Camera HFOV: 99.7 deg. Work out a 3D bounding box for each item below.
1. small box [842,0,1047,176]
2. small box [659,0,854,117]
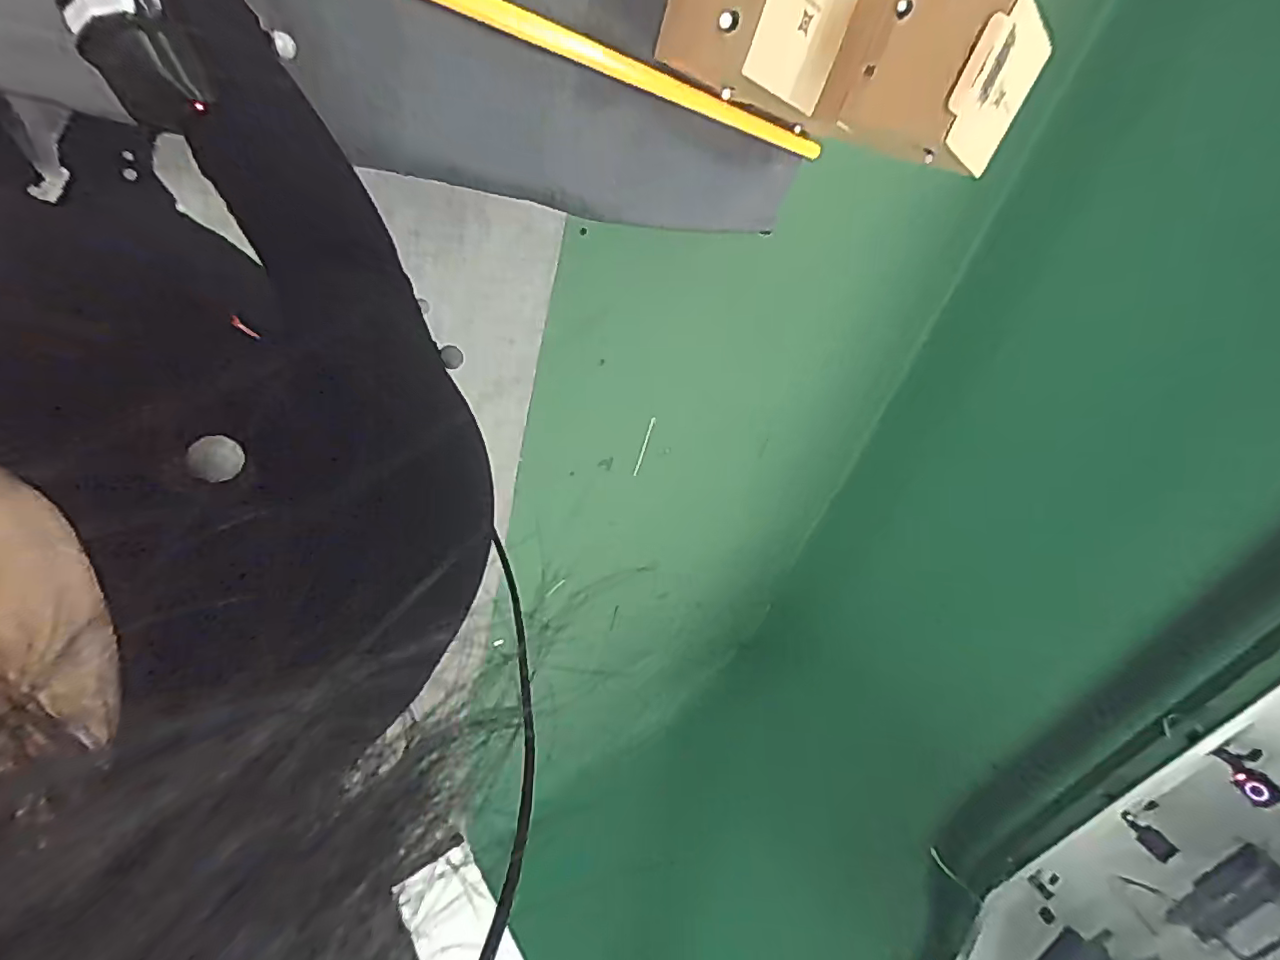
[{"bbox_3d":[0.419,-0.559,0.762,0.179,0.176,0.168,-9,131,-45],"label":"small box"},{"bbox_3d":[0.149,-0.610,0.701,0.168,0.176,0.179,-11,131,-43],"label":"small box"}]
